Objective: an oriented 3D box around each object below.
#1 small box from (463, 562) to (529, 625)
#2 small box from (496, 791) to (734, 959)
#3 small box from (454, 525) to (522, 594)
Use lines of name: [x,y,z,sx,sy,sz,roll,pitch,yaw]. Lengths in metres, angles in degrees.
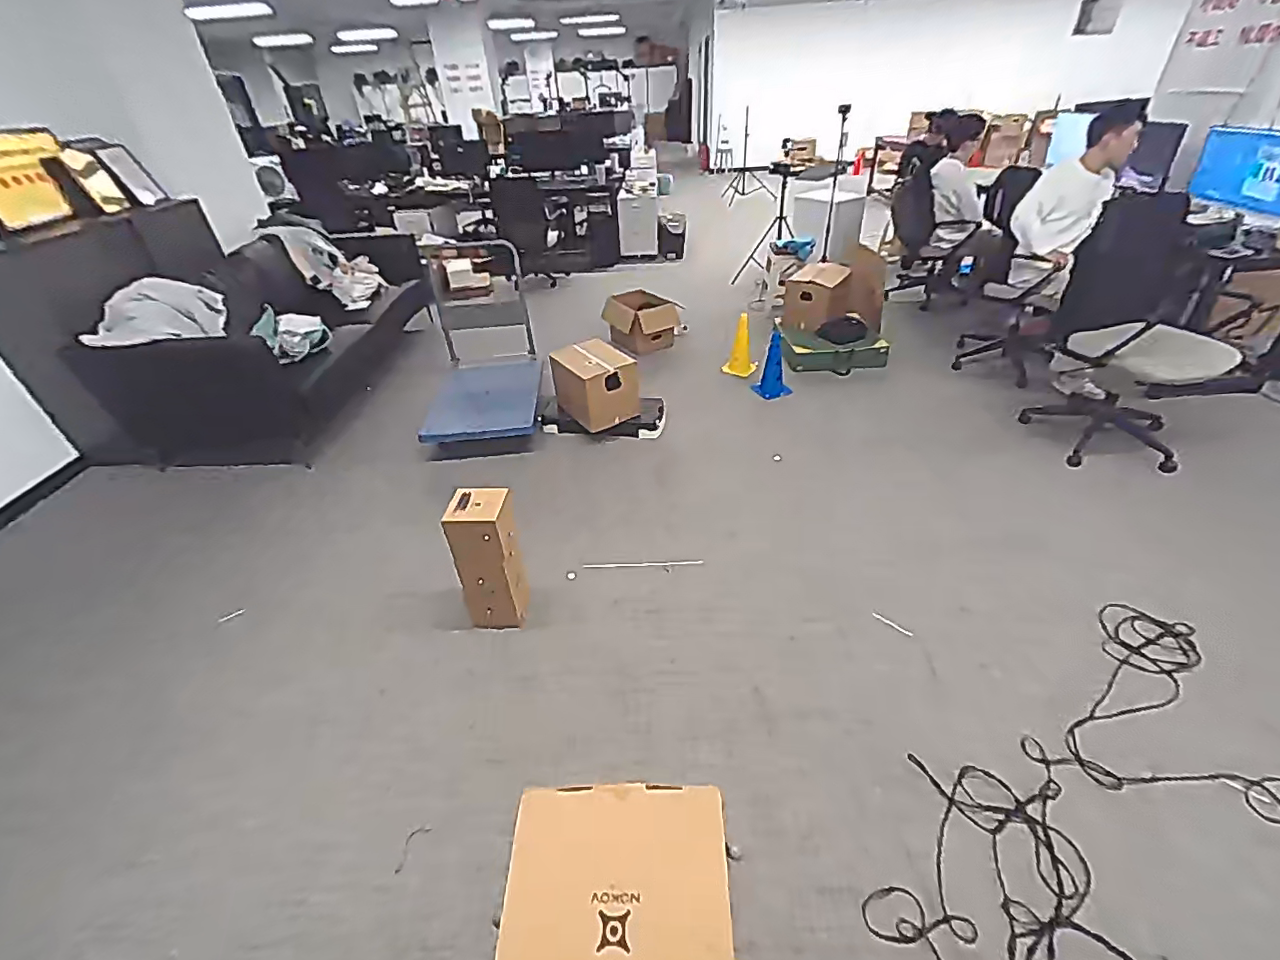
small box: [-0.508,0.407,1.941,0.179,0.176,0.168,-2,37,4]
small box: [-0.010,0.372,0.430,0.168,0.176,0.179,-3,42,3]
small box: [-0.511,0.273,1.845,0.168,0.176,0.179,0,36,4]
